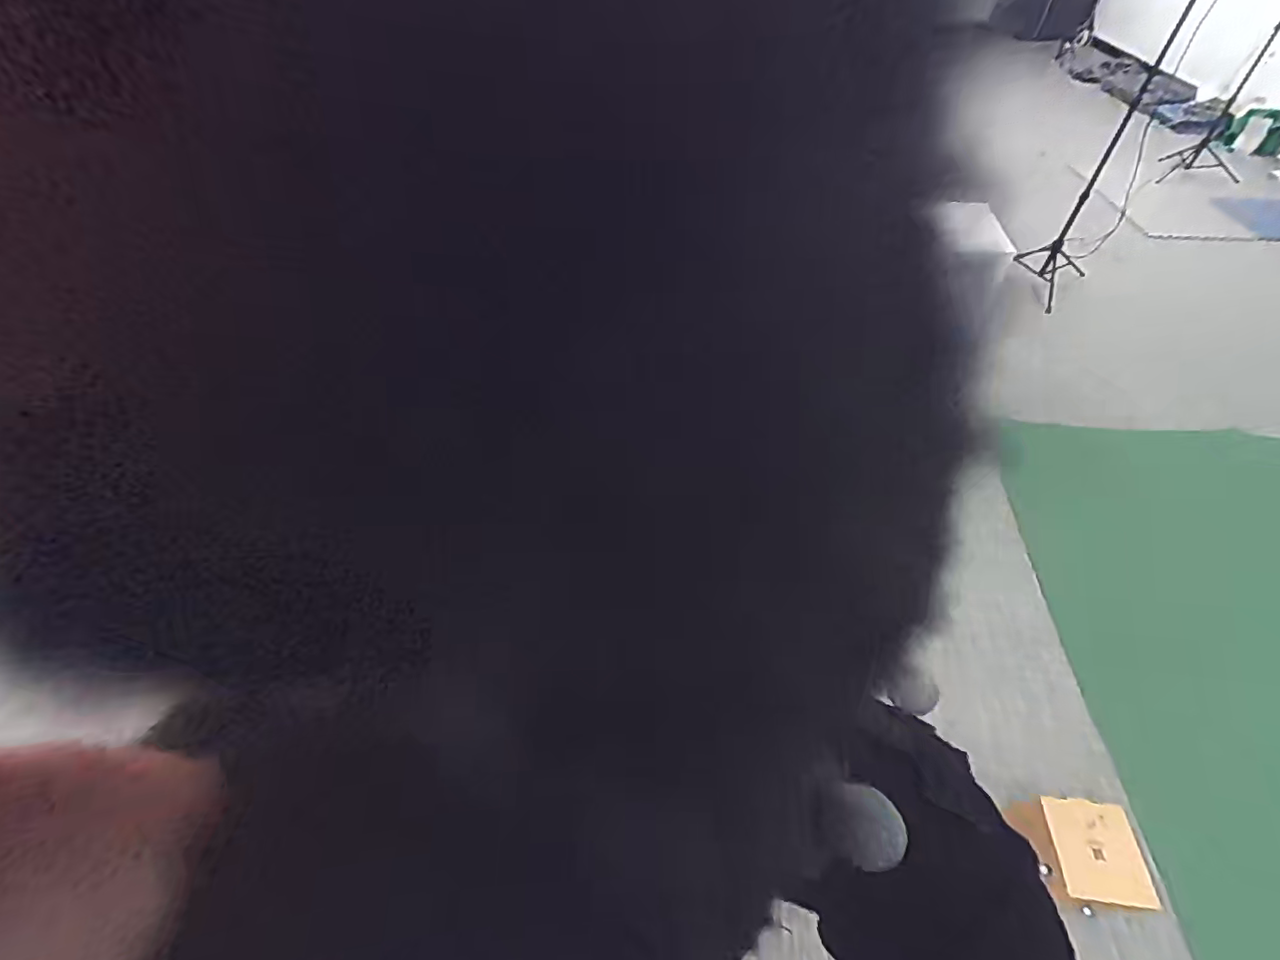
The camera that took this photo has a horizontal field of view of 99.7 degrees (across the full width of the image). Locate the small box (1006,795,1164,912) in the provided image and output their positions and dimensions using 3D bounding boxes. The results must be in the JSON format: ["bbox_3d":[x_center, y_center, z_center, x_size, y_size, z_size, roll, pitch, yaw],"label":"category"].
[{"bbox_3d":[0.911,0.783,1.130,0.168,0.176,0.179,5,50,5],"label":"small box"}]
